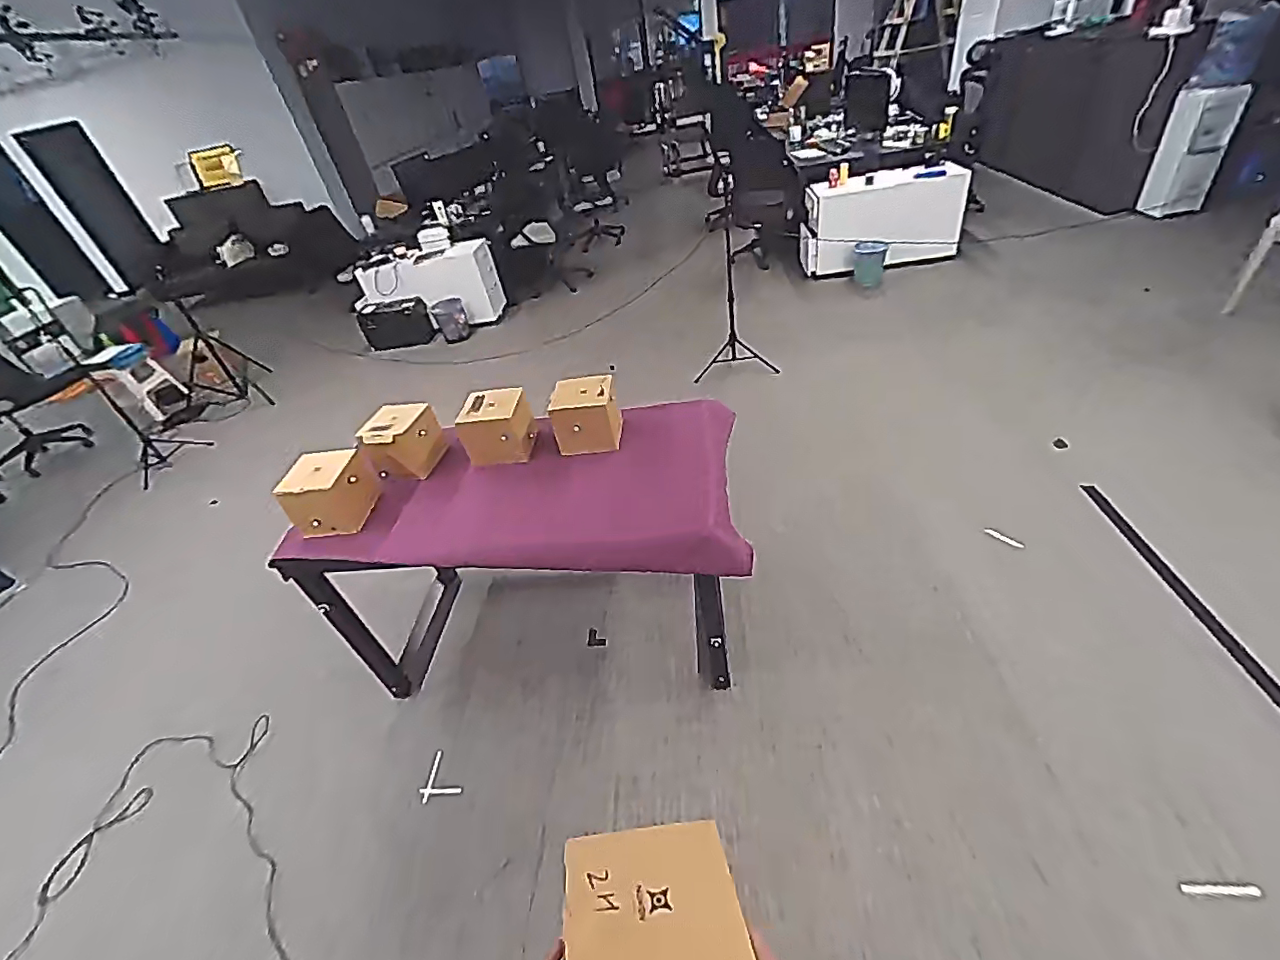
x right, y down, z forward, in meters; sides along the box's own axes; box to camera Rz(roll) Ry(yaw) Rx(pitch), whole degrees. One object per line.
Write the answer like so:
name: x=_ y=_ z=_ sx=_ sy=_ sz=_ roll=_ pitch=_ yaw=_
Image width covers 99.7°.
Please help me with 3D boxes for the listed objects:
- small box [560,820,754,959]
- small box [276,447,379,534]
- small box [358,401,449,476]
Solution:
small box: x=0.011 y=0.495 z=0.557 sx=0.179 sy=0.176 sz=0.168 roll=-4 pitch=15 yaw=-6
small box: x=-0.865 y=0.030 z=1.522 sx=0.168 sy=0.176 sz=0.179 roll=-5 pitch=40 yaw=5
small box: x=-0.724 y=-0.125 z=1.679 sx=0.168 sy=0.176 sz=0.179 roll=0 pitch=40 yaw=13
